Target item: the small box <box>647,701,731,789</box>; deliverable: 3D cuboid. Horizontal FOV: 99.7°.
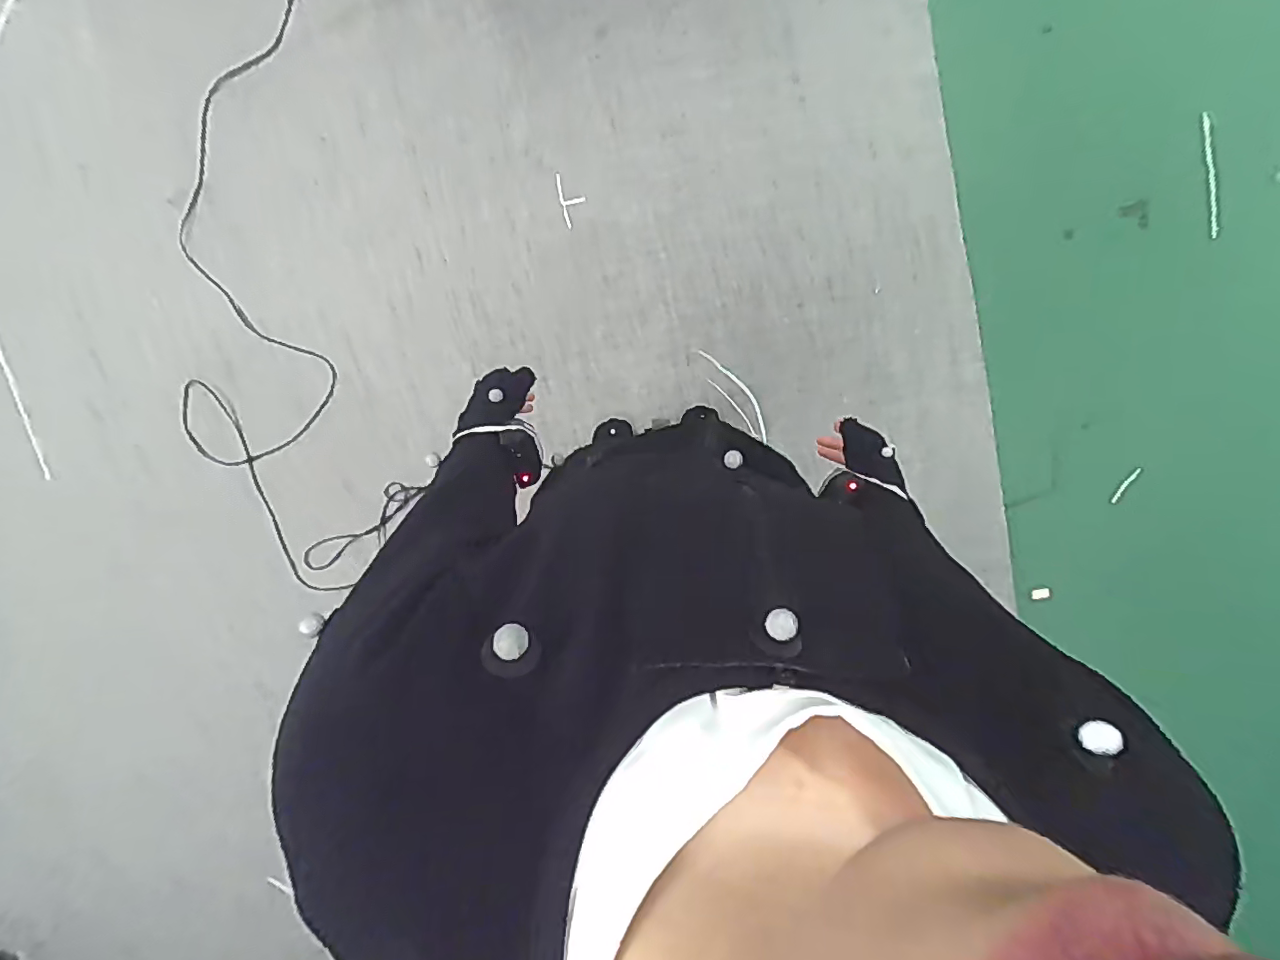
[{"bbox_3d":[0.124,0.717,1.442,0.168,0.176,0.179,-19,98,-1],"label":"small box"}]
